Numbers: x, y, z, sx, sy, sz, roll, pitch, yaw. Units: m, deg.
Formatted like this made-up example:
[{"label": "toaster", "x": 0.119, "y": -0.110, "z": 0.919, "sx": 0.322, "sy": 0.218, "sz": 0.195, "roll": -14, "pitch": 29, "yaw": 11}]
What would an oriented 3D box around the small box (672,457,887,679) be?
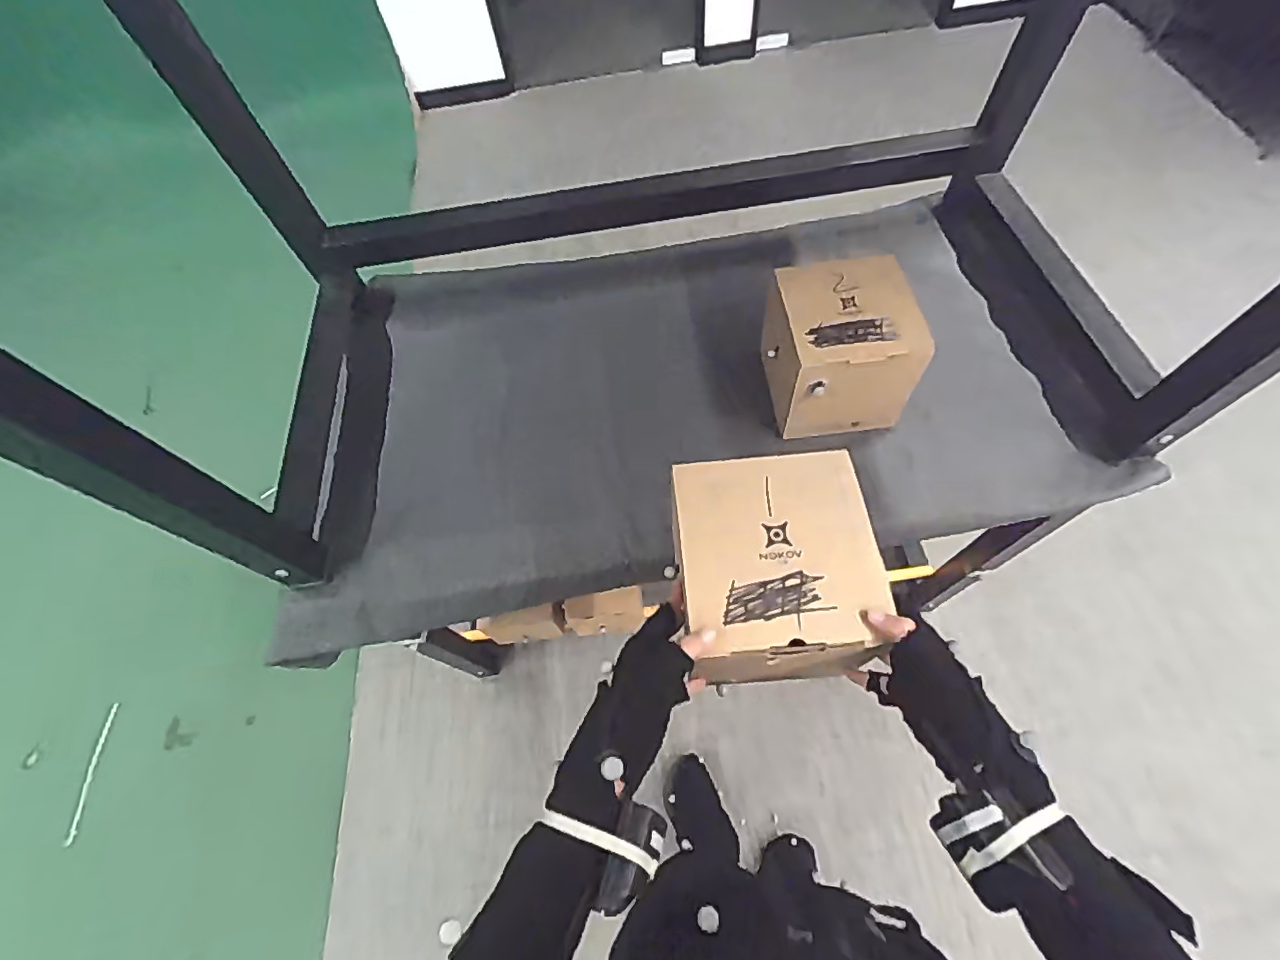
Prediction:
[{"label": "small box", "x": 0.122, "y": 0.098, "z": 0.547, "sx": 0.168, "sy": 0.176, "sz": 0.179, "roll": -5, "pitch": 60, "yaw": 2}]
